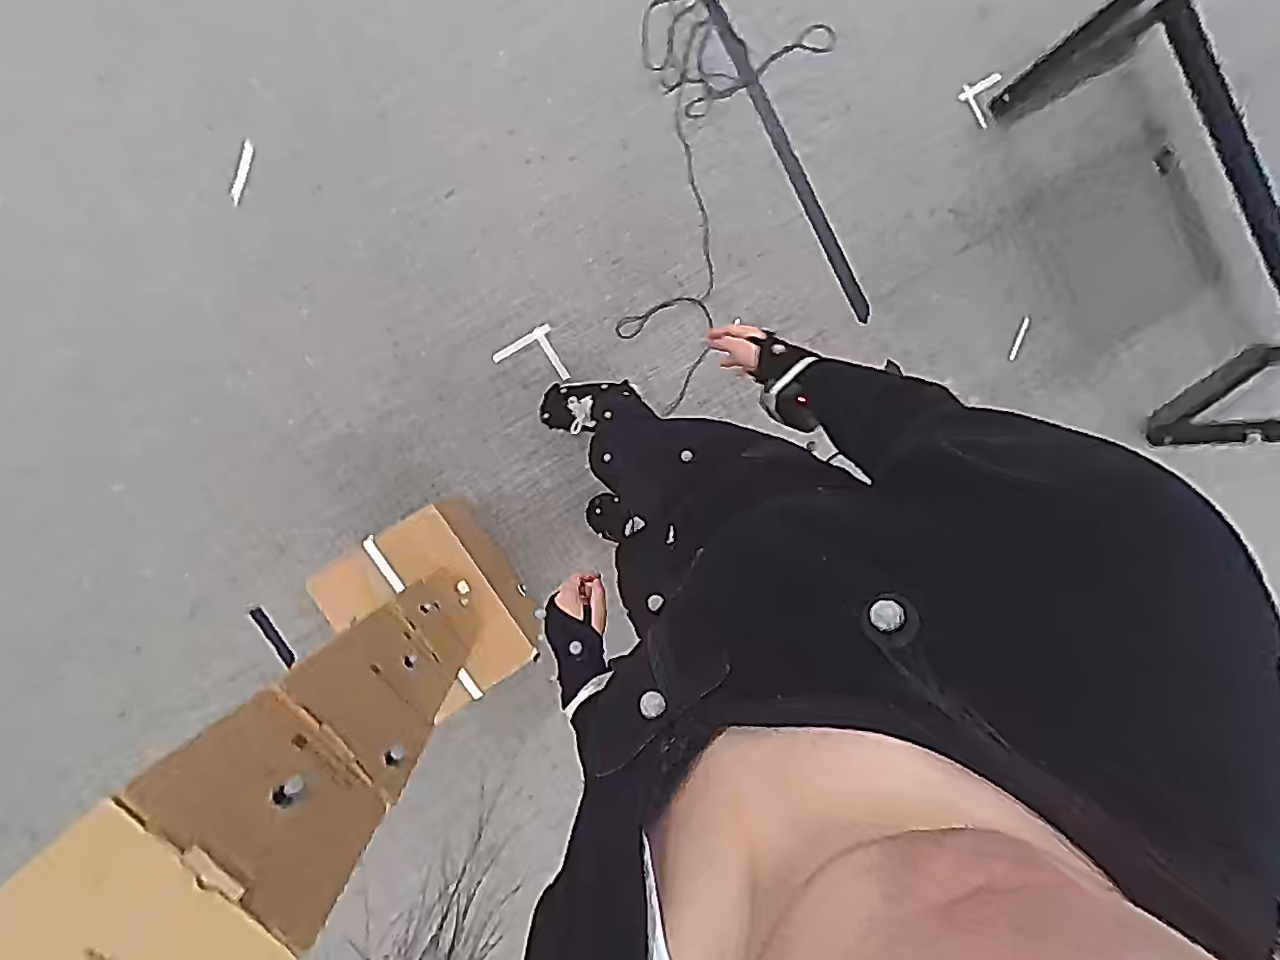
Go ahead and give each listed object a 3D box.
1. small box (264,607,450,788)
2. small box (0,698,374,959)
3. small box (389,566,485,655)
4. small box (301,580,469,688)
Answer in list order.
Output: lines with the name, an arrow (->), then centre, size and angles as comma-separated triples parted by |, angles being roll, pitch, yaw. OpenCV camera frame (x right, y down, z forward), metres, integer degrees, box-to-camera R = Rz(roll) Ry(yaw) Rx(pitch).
small box -> -0.384, 0.301, 0.741 | 0.179, 0.176, 0.168 | -39, 95, -5
small box -> -0.337, 0.307, 0.416 | 0.179, 0.176, 0.168 | -43, 95, -6
small box -> -0.430, 0.293, 1.065 | 0.179, 0.176, 0.168 | -34, 96, -6
small box -> -0.406, 0.291, 0.904 | 0.179, 0.176, 0.168 | -35, 95, -5
